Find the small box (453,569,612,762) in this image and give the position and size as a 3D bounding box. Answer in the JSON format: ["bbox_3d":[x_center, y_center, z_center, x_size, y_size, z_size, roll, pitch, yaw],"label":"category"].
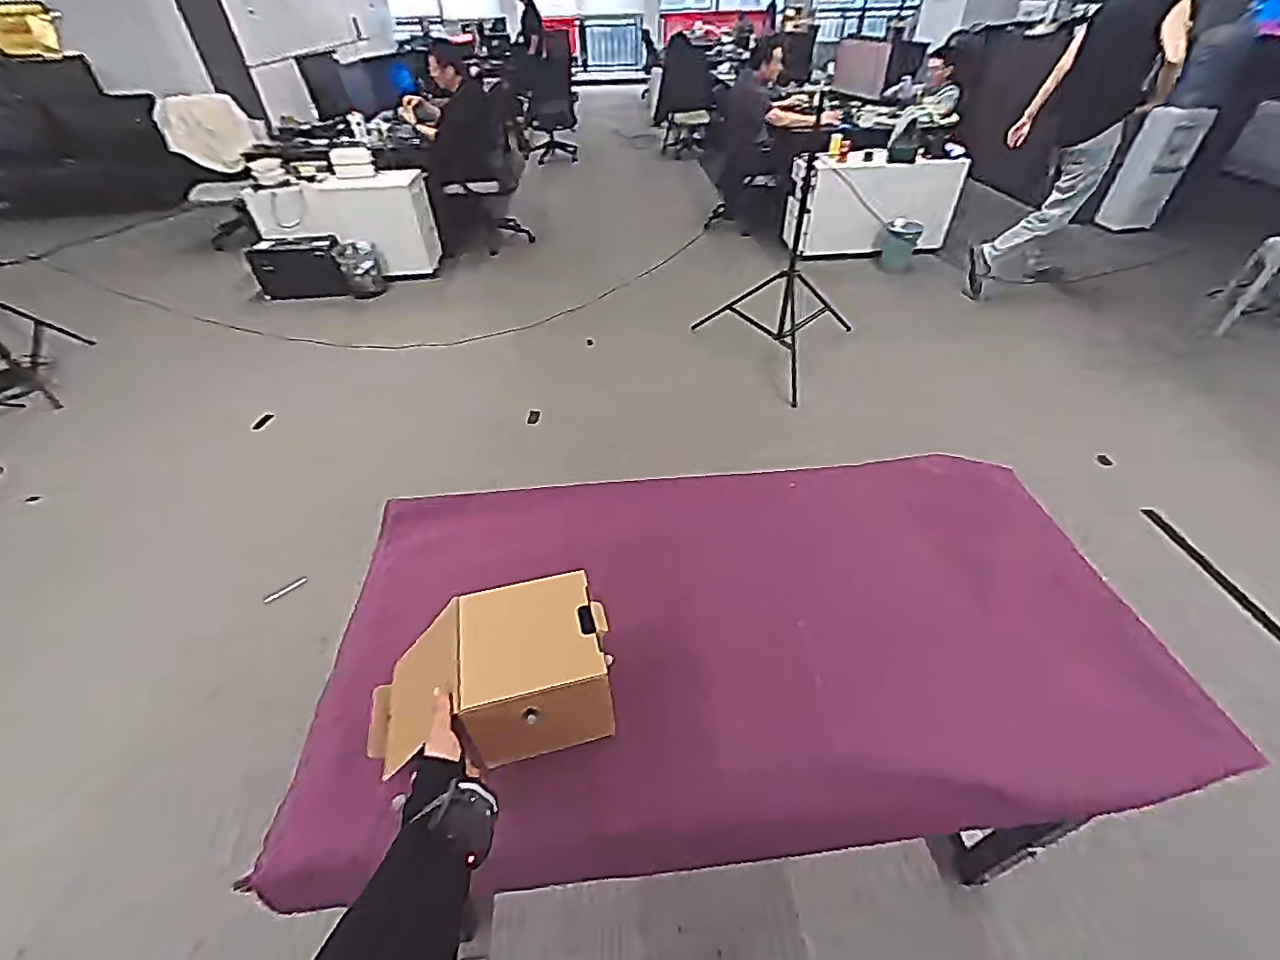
[{"bbox_3d":[-0.142,0.250,0.726,0.179,0.176,0.168,-10,43,-10],"label":"small box"}]
